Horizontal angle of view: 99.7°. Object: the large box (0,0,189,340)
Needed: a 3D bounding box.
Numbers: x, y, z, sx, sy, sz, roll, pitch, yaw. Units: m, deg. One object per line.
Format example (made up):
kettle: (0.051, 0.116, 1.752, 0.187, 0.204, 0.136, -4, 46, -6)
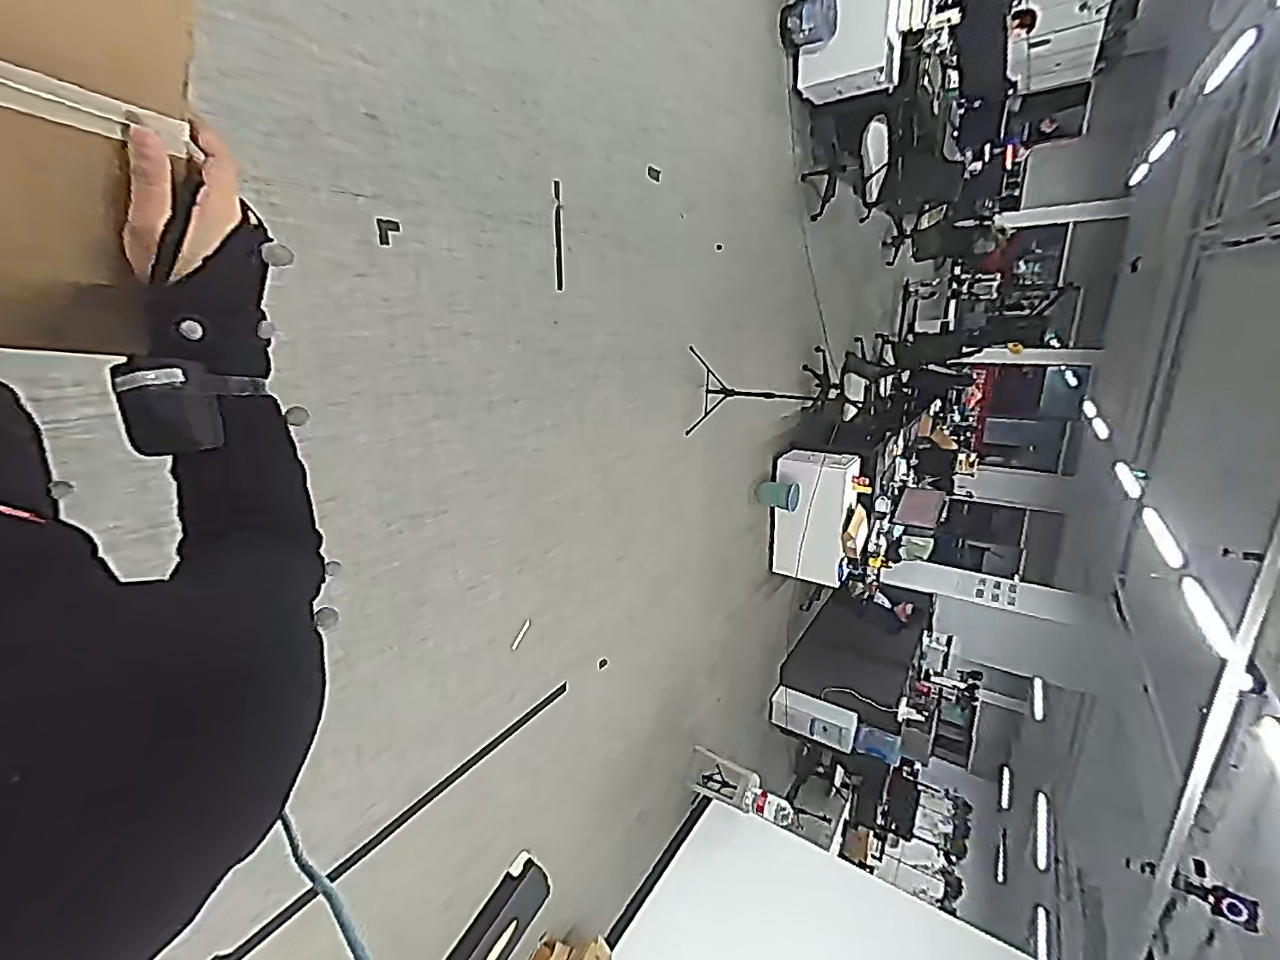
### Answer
large box: (-0.511, -0.292, 0.244, 0.408, 0.320, 0.320, -11, 139, -54)
